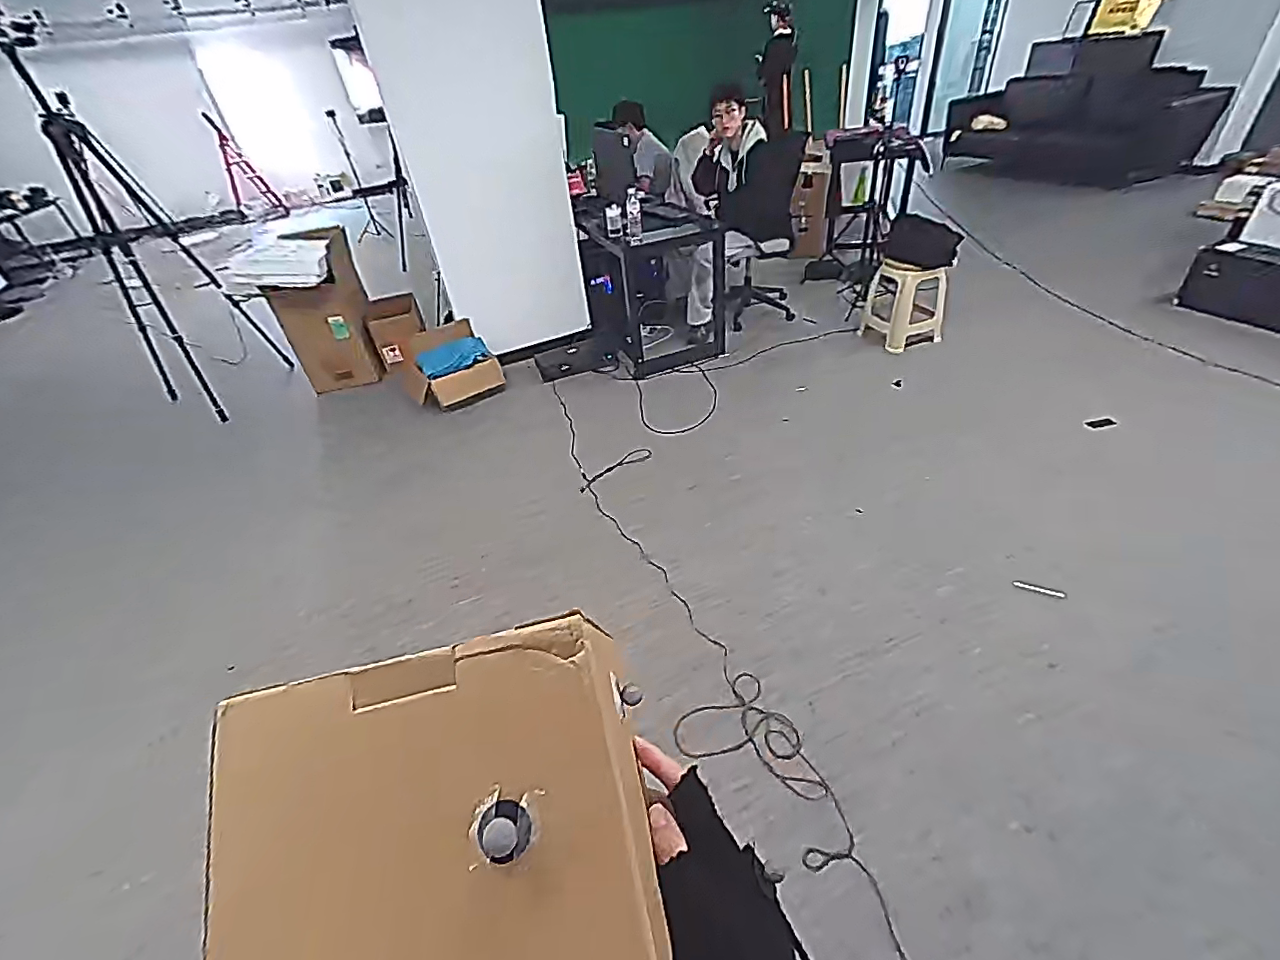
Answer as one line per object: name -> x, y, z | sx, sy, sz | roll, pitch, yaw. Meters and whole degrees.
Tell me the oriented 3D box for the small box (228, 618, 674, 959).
small box -> -0.079, 0.186, 0.294 | 0.168, 0.179, 0.176 | -13, 70, -2
